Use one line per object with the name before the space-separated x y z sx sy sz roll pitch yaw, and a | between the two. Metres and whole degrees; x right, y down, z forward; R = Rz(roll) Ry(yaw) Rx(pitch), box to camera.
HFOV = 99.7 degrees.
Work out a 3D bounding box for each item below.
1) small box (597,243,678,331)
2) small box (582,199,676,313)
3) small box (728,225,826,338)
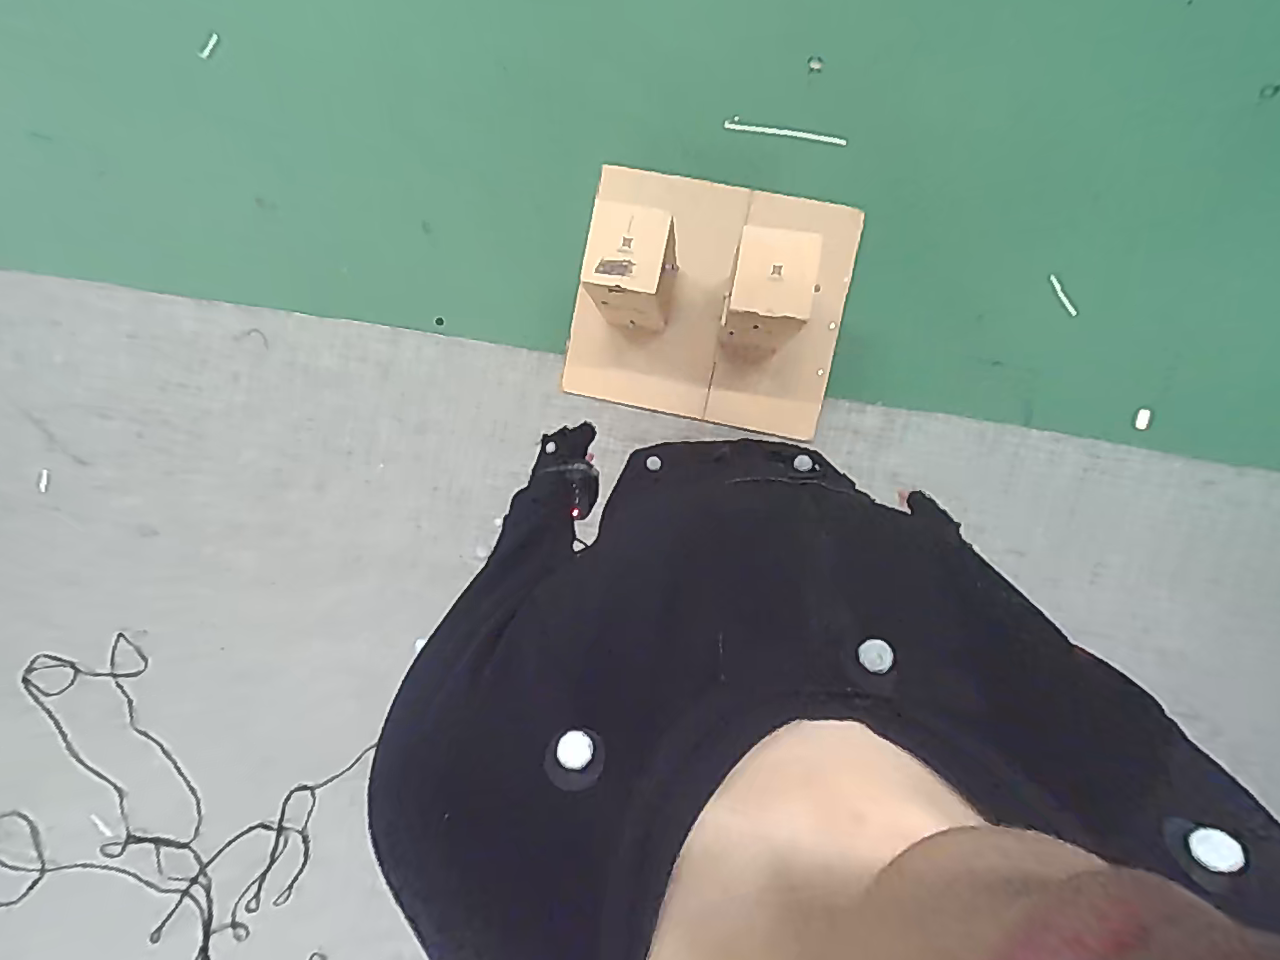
small box | 0.000 -0.490 1.354 0.168 0.176 0.179 11 94 6
small box | -0.017 -0.482 1.191 0.168 0.176 0.179 13 93 5
small box | 0.287 -0.422 1.171 0.168 0.176 0.179 9 94 4
